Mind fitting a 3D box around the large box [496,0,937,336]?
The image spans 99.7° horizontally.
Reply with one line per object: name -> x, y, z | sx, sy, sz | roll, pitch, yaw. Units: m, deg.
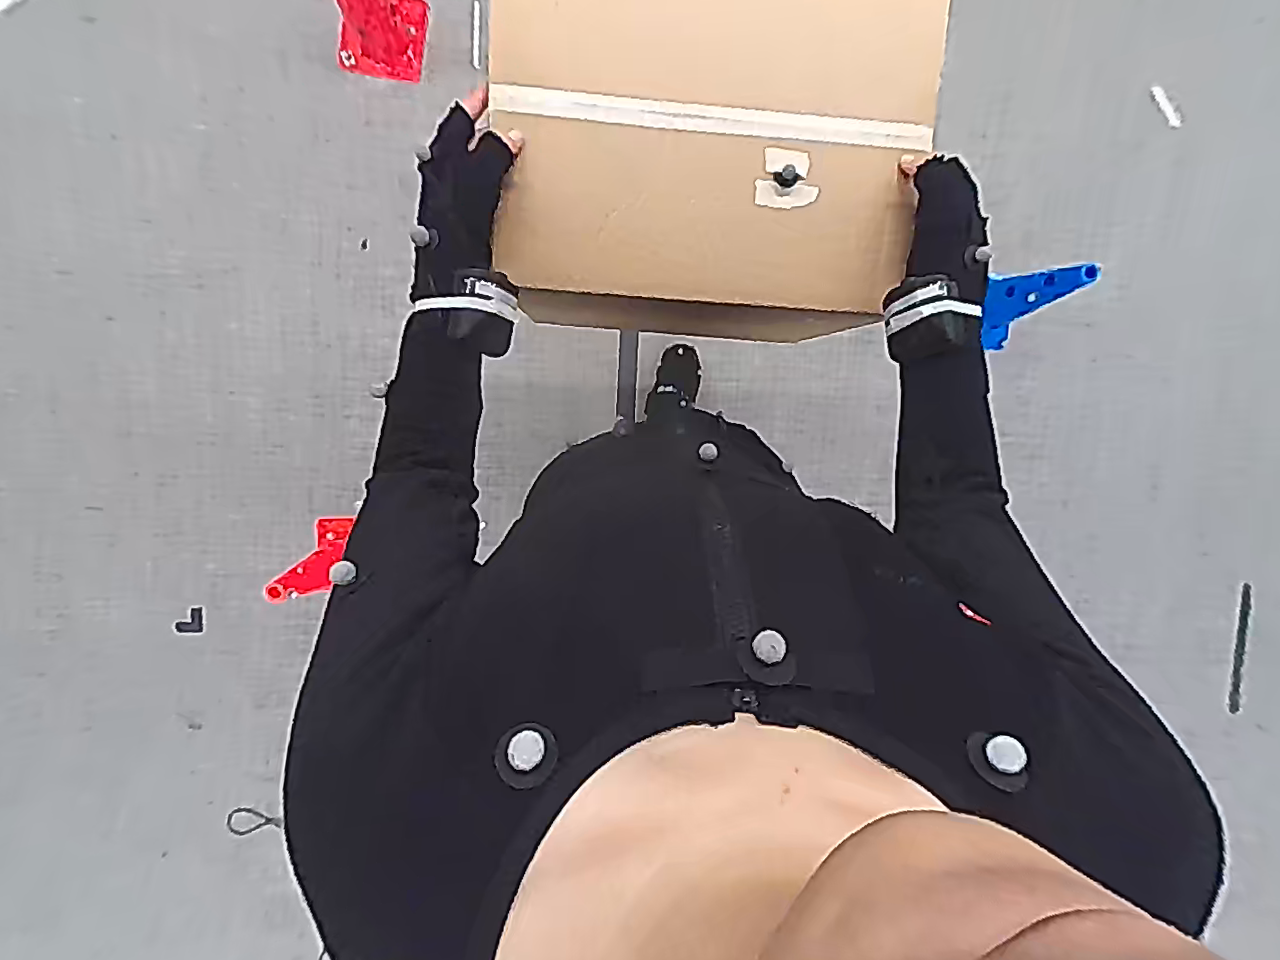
large box -> 0.057, -0.354, 0.642 | 0.408, 0.320, 0.320 | 3, 99, -5

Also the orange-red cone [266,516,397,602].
orange-red cone -> -0.742, 0.214, 1.266 | 0.198, 0.360, 0.199 | 0, 97, -2

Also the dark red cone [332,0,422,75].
dark red cone -> -0.618, -1.074, 1.132 | 0.201, 0.394, 0.202 | 8, 95, -4

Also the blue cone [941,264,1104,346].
blue cone -> 0.921, -0.447, 1.300 | 0.192, 0.380, 0.193 | 5, 95, -4
